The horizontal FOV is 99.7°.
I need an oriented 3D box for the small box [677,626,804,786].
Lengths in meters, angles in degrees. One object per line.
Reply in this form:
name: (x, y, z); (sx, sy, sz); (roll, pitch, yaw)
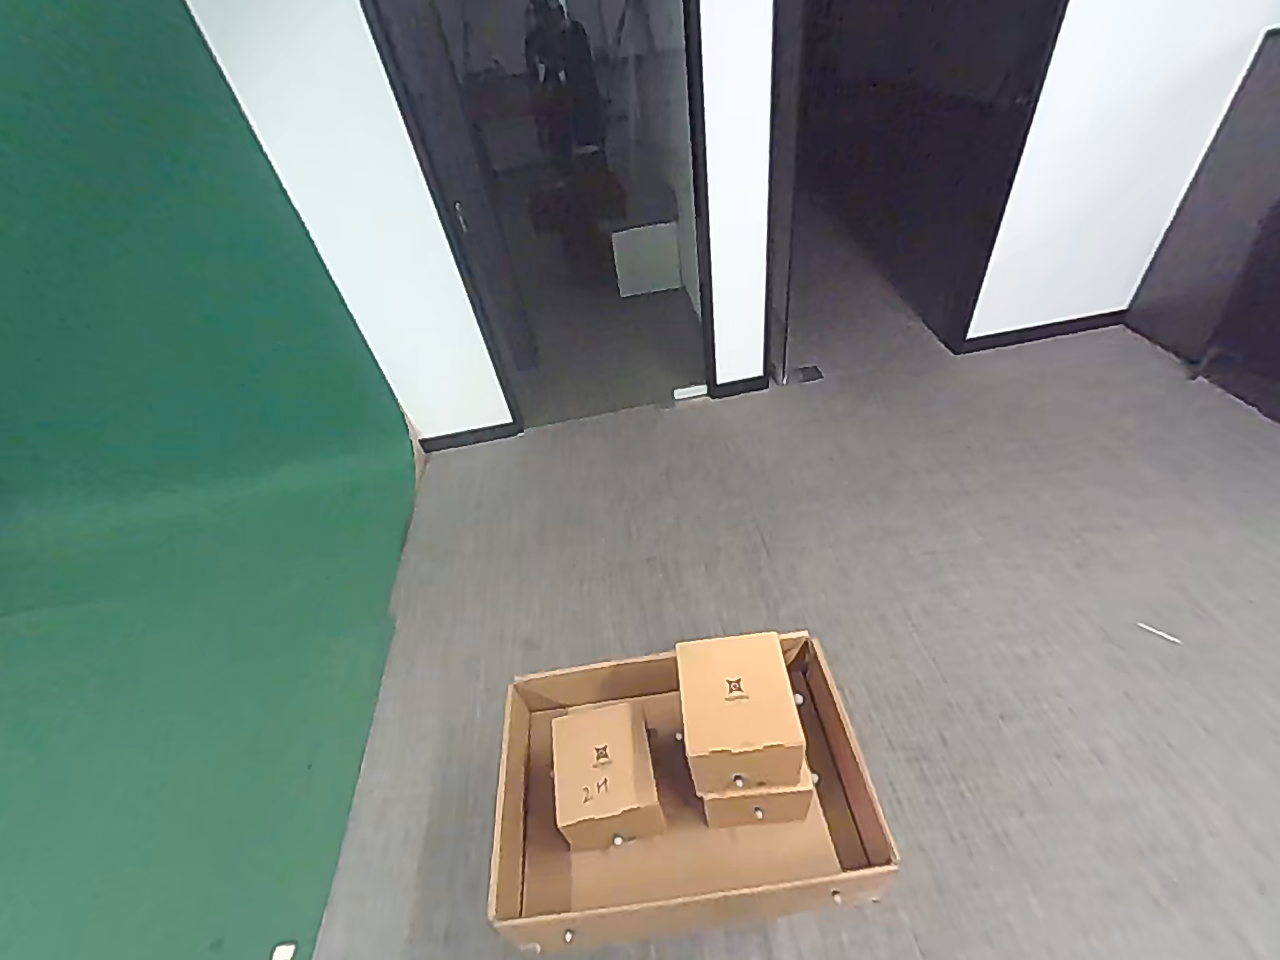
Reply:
small box: (0.152, 0.360, 0.860); (0.168, 0.176, 0.179); (-8, 43, 4)

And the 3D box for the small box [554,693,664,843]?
small box: (-0.055, 0.516, 0.970); (0.168, 0.176, 0.179); (-11, 43, -2)
